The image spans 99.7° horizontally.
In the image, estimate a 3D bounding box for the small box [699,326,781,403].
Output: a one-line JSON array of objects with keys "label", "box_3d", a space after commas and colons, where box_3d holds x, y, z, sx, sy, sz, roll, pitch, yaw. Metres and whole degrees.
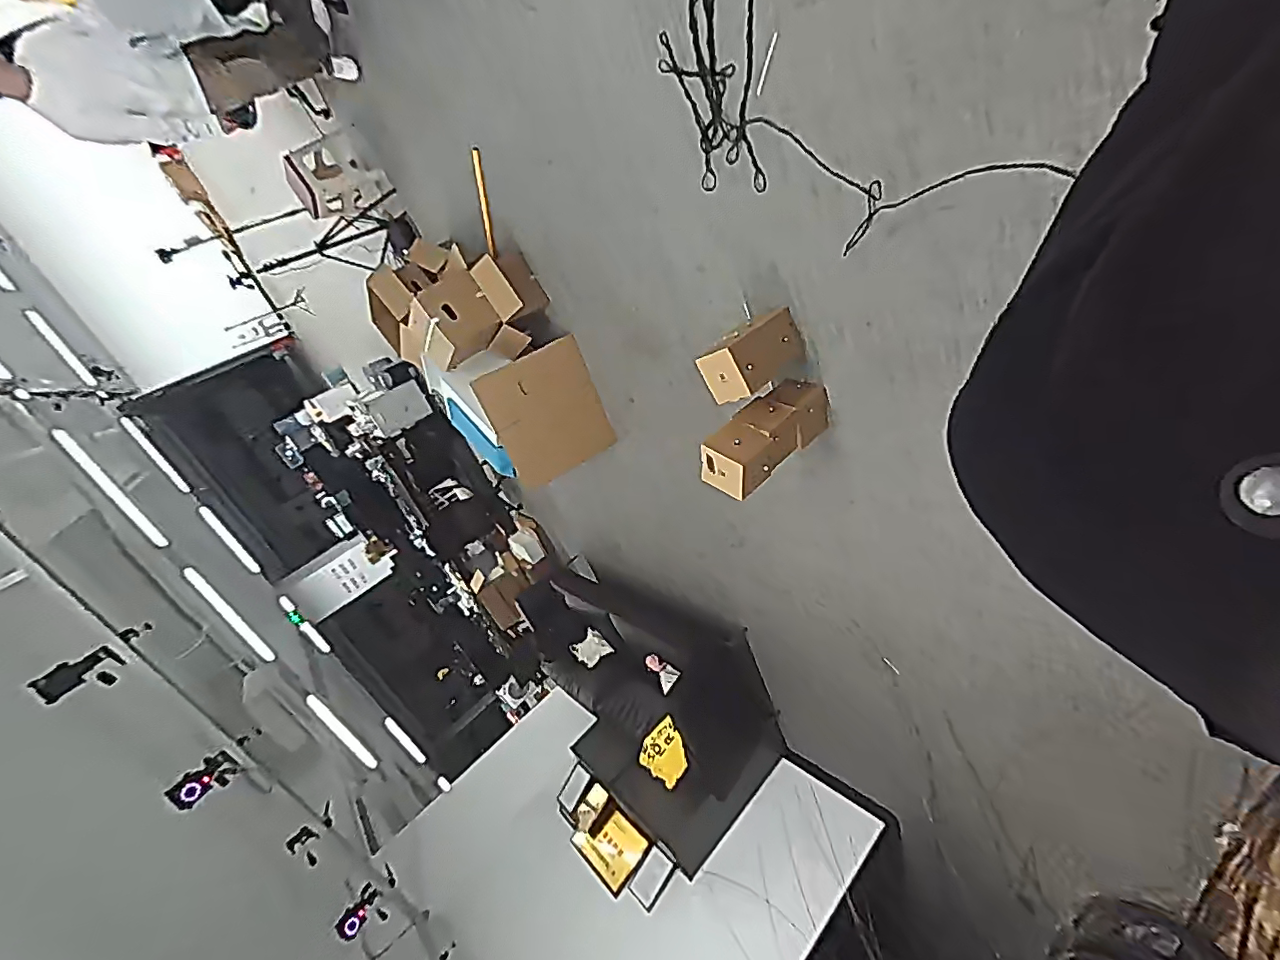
[{"label": "small box", "box_3d": [0.337, -0.382, 1.791, 0.168, 0.176, 0.179, -5, 119, 58]}]

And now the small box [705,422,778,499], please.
[{"label": "small box", "box_3d": [0.336, -0.073, 1.810, 0.179, 0.176, 0.168, 31, 146, 35]}]

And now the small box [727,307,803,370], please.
[{"label": "small box", "box_3d": [0.441, -0.479, 1.872, 0.179, 0.176, 0.168, 3, 125, 57]}]

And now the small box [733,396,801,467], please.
[{"label": "small box", "box_3d": [0.447, -0.165, 1.890, 0.168, 0.176, 0.179, 29, 144, 39]}]
